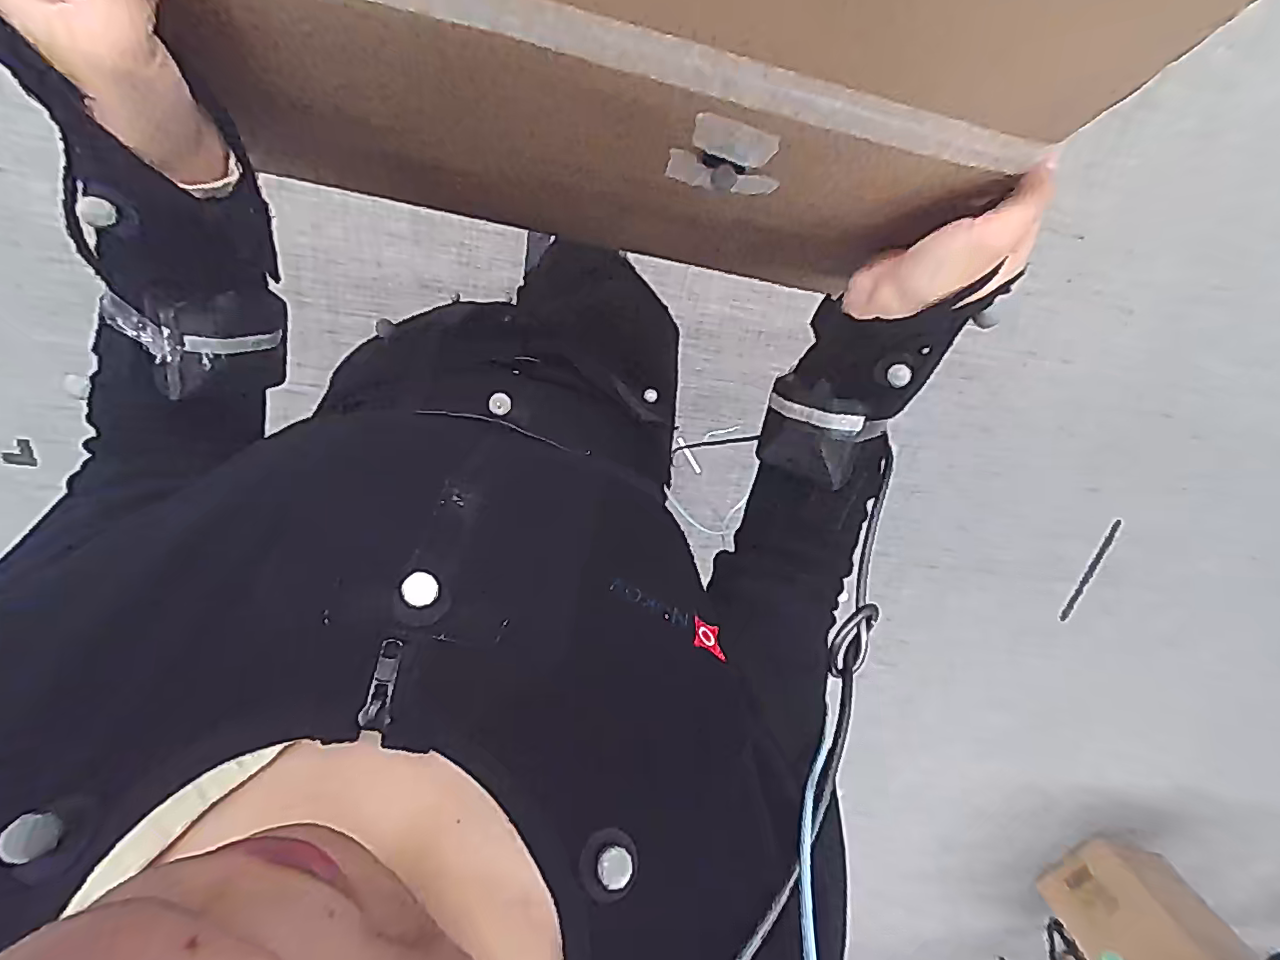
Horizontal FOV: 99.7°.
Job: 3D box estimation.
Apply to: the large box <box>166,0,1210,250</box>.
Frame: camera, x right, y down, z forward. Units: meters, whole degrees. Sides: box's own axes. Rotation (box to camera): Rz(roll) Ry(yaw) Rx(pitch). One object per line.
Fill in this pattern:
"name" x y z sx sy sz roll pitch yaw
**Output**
"large box" 0.016 -0.342 0.207 0.408 0.320 0.320 7 84 -10
